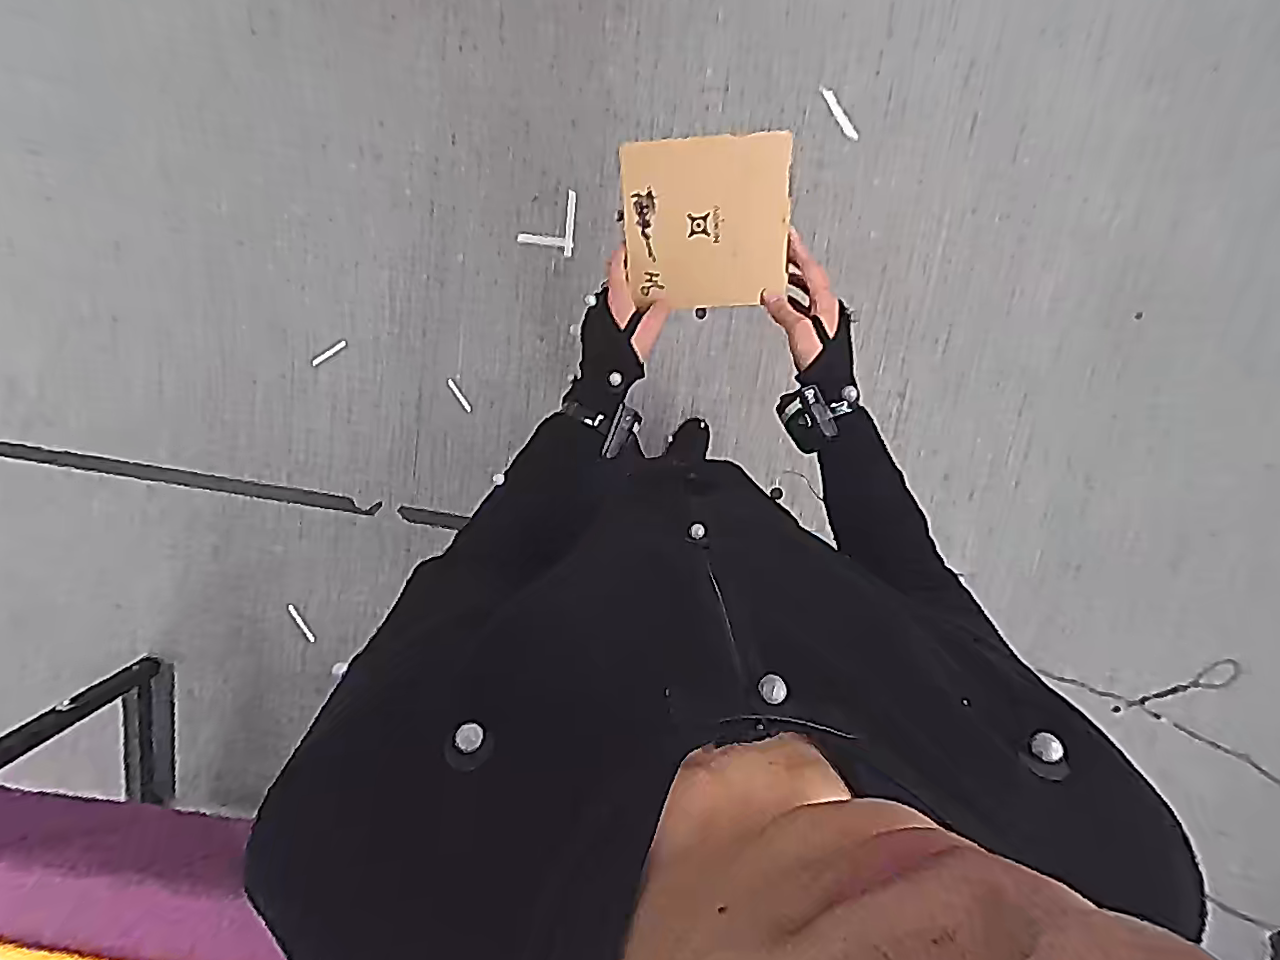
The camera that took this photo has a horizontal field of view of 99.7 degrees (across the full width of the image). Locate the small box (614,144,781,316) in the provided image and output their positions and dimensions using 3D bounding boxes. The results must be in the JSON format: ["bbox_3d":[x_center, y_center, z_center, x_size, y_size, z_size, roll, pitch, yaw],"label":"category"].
[{"bbox_3d":[0.064,-0.294,0.660,0.179,0.176,0.168,-2,109,3],"label":"small box"}]
